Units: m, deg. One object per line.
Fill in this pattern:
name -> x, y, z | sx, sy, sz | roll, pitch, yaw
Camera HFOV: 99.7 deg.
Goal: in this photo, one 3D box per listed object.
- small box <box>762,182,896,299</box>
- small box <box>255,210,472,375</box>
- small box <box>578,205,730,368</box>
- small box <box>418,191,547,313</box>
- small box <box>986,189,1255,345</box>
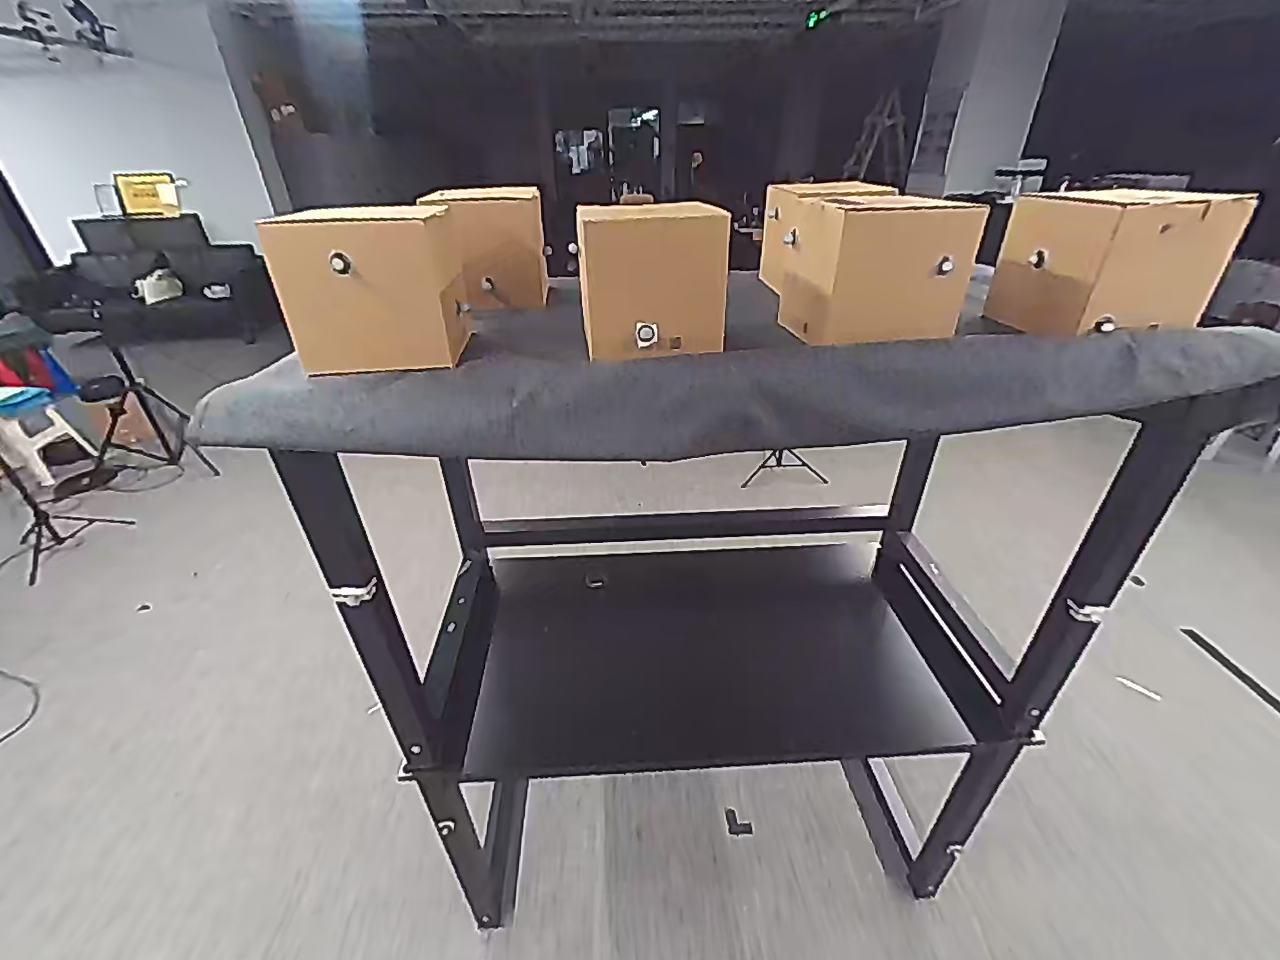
small box -> 0.322, -0.422, 0.958 | 0.168, 0.176, 0.179 | -4, 32, -3
small box -> -0.322, -0.236, 0.674 | 0.179, 0.176, 0.168 | -4, 31, -6
small box -> 0.009, -0.251, 0.691 | 0.168, 0.176, 0.179 | -6, 31, -5
small box -> -0.254, -0.390, 0.924 | 0.179, 0.176, 0.168 | -3, 32, -5
small box -> 0.605, -0.280, 0.712 | 0.168, 0.176, 0.179 | -4, 31, -4
